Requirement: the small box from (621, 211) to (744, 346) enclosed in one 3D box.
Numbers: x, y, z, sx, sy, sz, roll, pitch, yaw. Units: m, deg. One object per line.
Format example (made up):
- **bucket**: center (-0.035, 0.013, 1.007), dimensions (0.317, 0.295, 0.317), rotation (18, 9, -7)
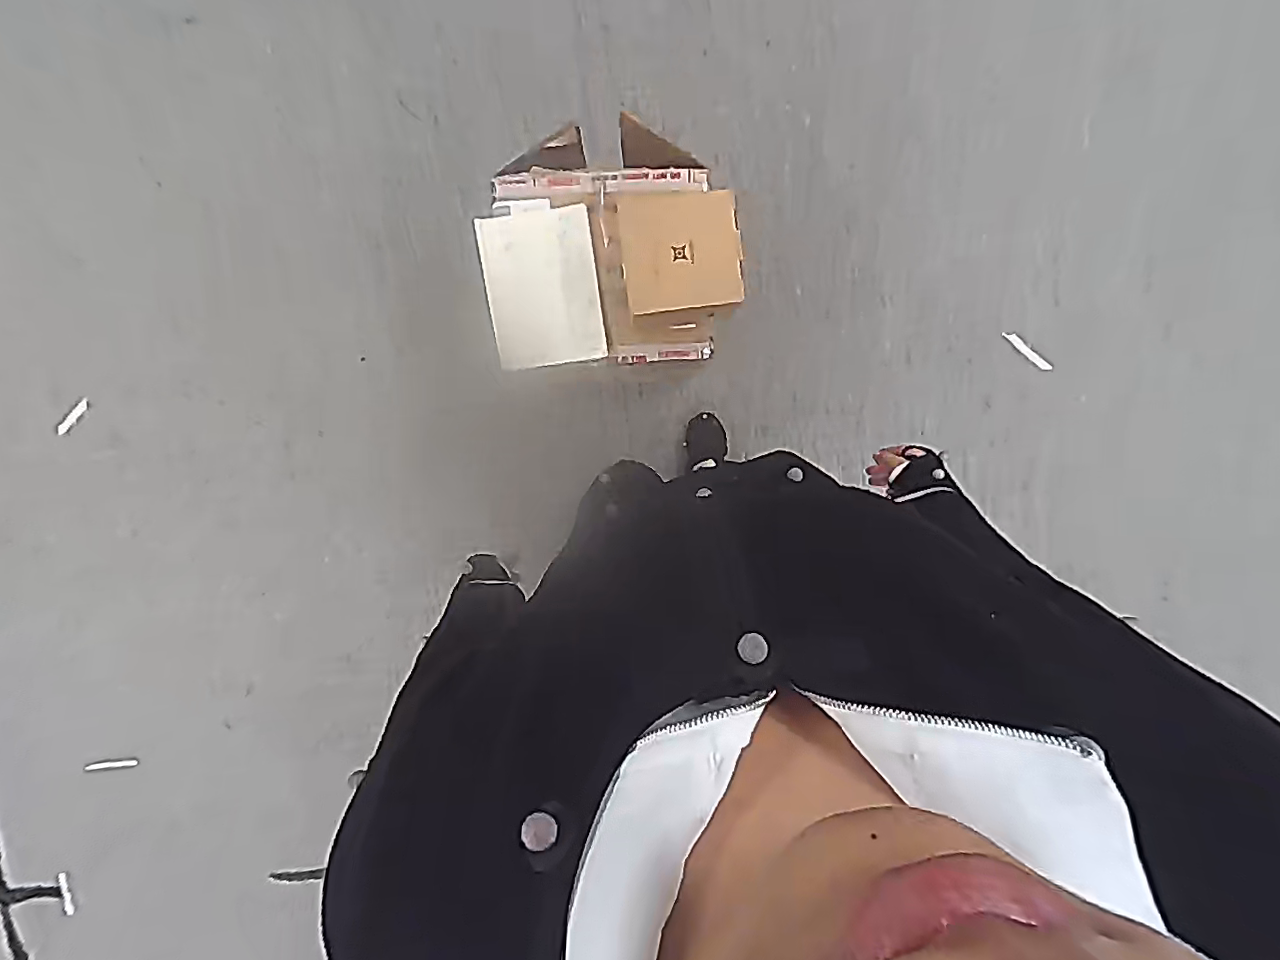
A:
- **small box**: center (0.064, -0.327, 0.907), dimensions (0.179, 0.176, 0.168), rotation (-8, 96, 1)
